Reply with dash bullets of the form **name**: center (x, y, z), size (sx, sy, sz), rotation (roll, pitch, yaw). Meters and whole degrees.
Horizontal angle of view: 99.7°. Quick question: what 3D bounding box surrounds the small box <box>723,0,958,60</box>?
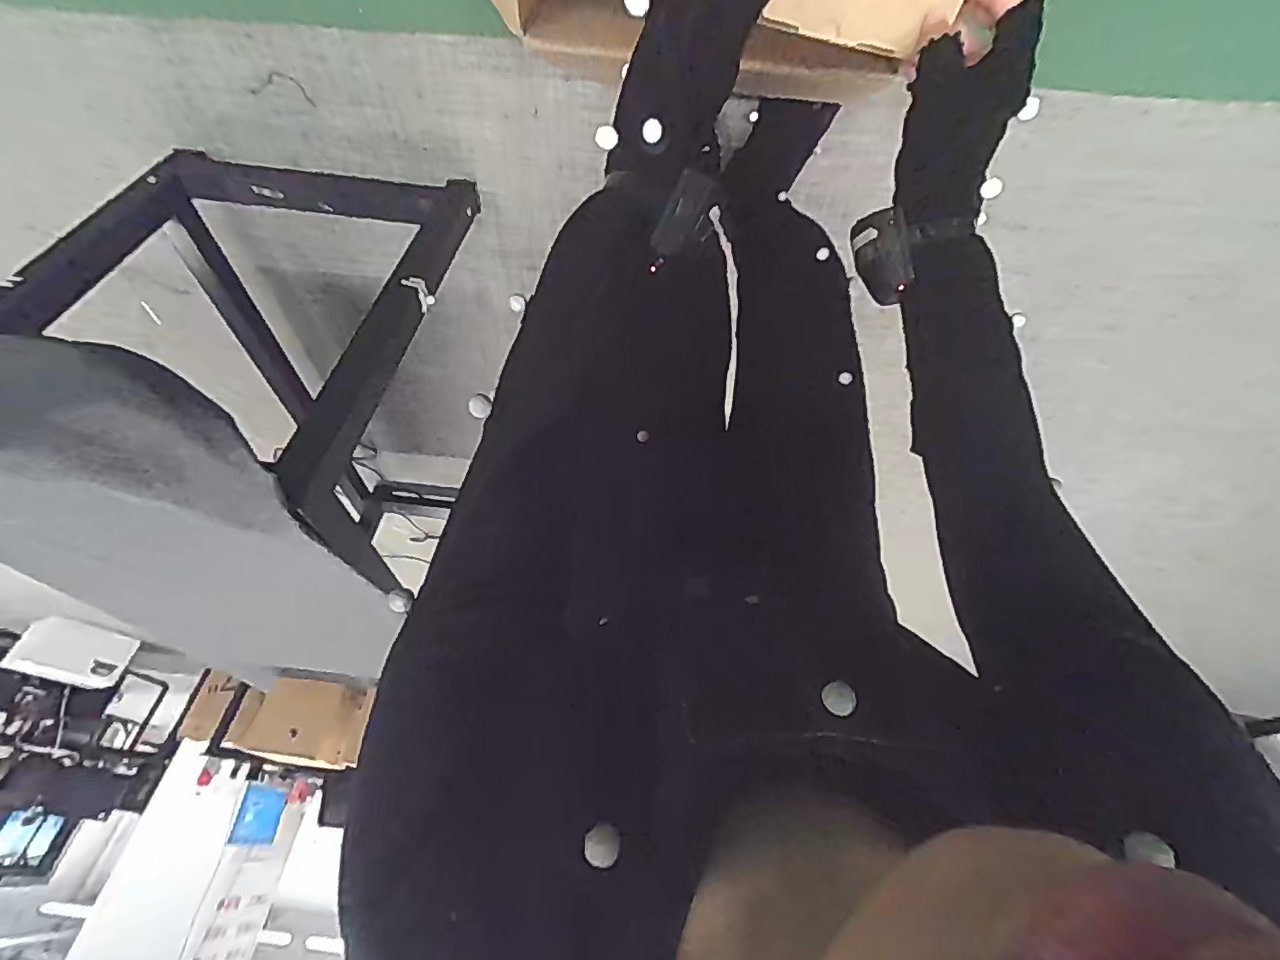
- **small box**: center (0.159, -0.442, 0.386), size (0.168, 0.176, 0.179), rotation (11, 138, -3)

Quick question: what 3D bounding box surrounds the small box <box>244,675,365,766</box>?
- **small box**: center (-0.801, 0.587, 1.320), size (0.179, 0.176, 0.168), rotation (6, 145, 2)
